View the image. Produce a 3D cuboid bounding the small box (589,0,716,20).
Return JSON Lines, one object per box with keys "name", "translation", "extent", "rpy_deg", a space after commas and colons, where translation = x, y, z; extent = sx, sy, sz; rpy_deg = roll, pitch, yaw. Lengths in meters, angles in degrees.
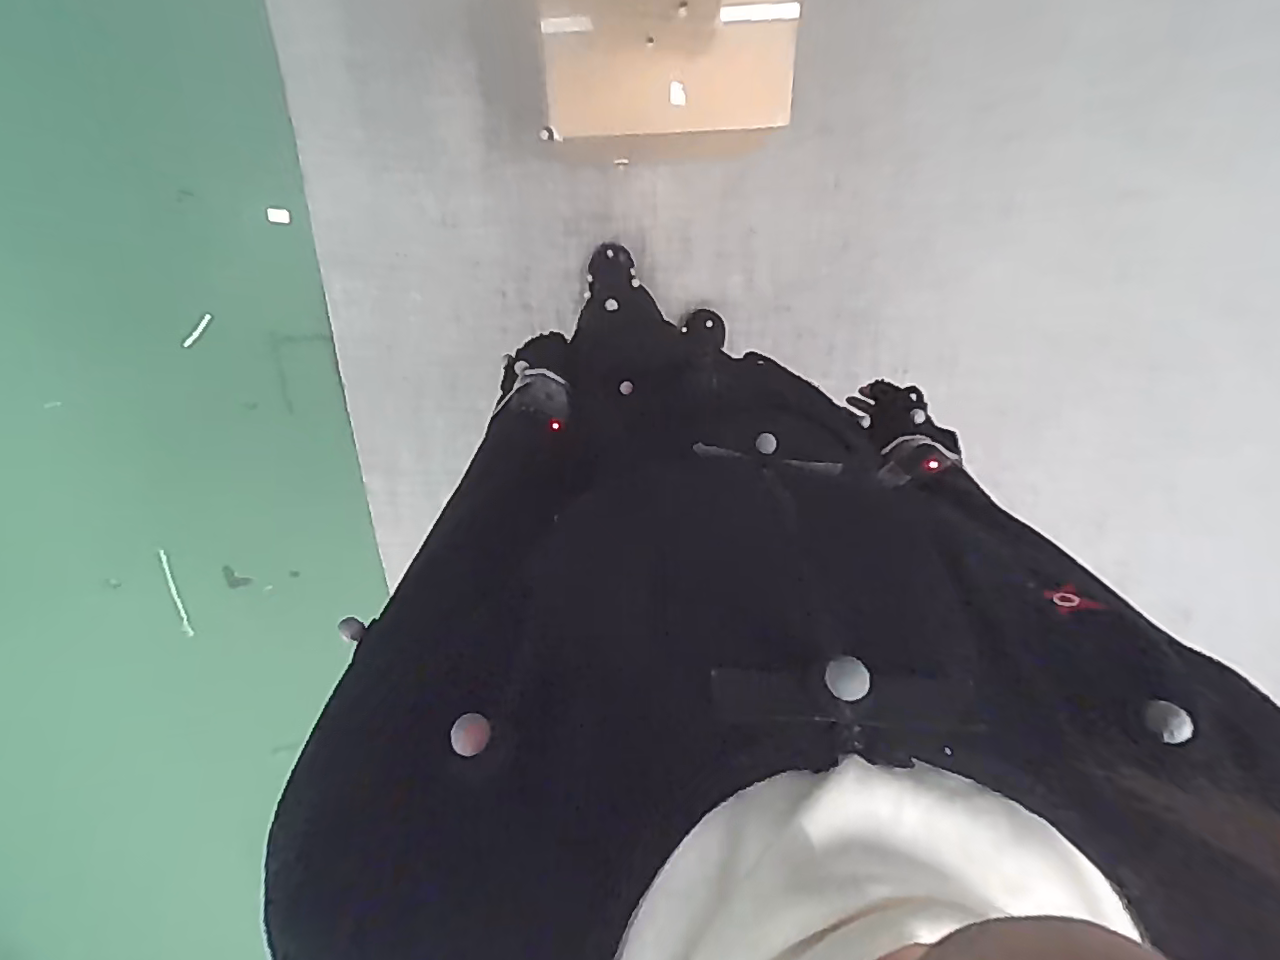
{"name": "small box", "translation": [0.016, -0.655, 0.614], "extent": [0.168, 0.176, 0.179], "rpy_deg": [1, 116, 0]}
